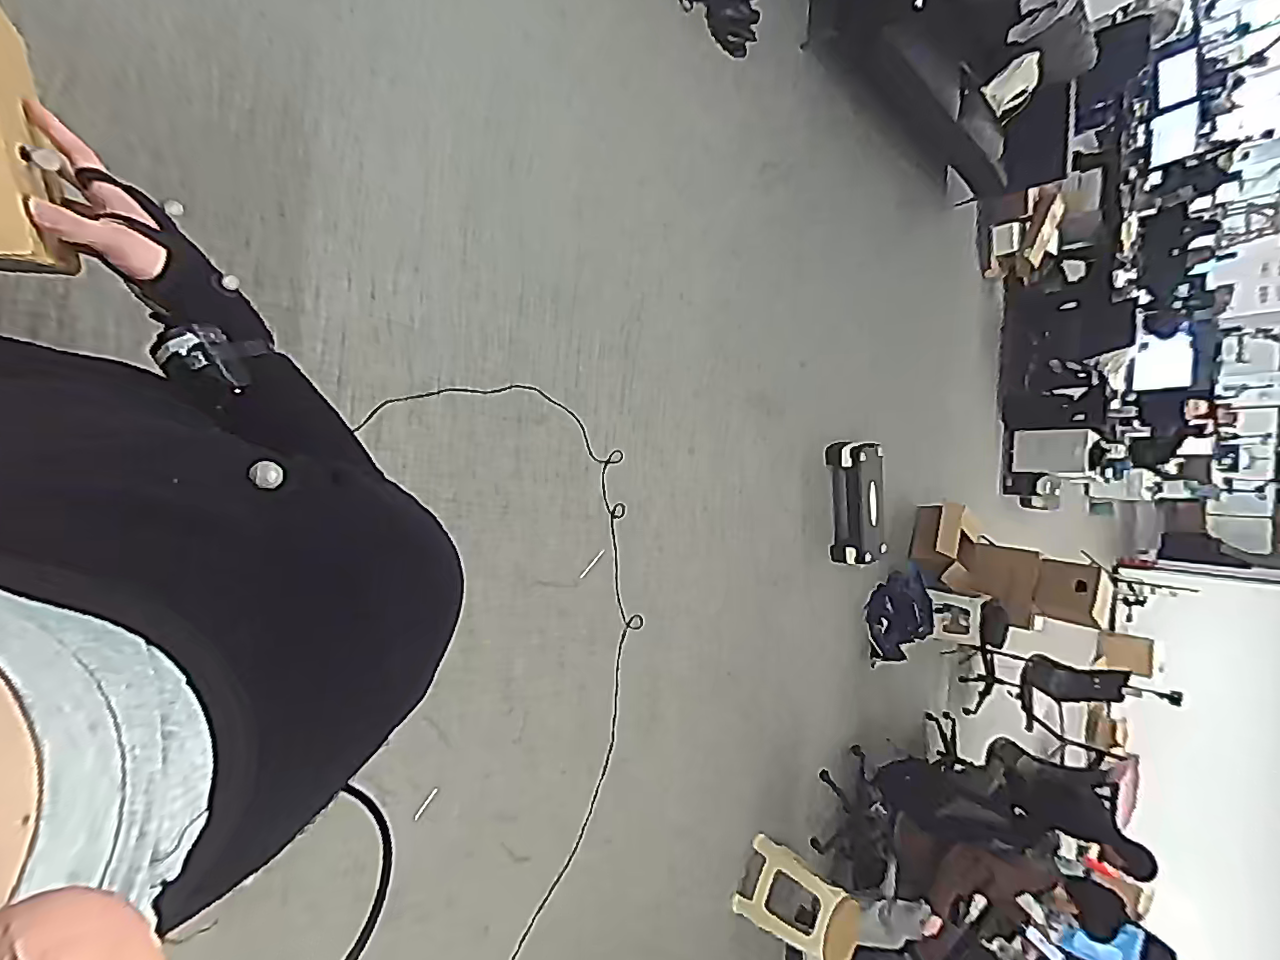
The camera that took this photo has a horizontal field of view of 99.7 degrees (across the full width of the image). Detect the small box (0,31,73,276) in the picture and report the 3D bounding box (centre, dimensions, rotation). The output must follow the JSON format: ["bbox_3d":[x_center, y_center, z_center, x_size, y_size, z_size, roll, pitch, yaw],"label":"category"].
[{"bbox_3d":[-0.493,-0.223,0.332,0.168,0.176,0.179,-13,113,-38],"label":"small box"}]
